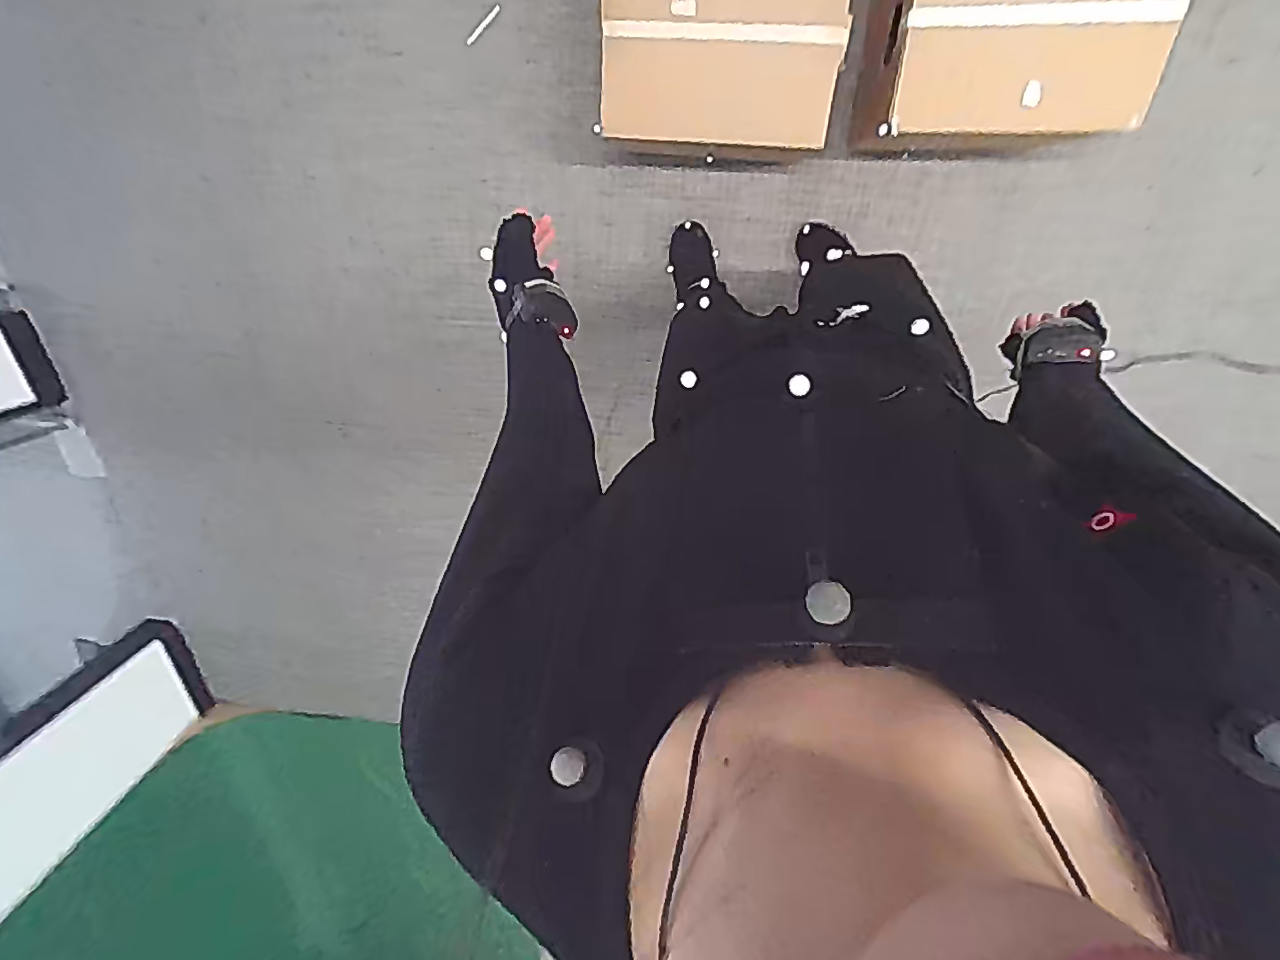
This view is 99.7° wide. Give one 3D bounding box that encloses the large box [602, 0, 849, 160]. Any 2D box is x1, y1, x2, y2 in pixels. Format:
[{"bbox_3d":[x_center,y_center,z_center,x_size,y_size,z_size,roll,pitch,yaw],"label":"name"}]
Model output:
[{"bbox_3d":[0.156,-0.802,1.028,0.408,0.320,0.320,7,116,6],"label":"large box"}]
